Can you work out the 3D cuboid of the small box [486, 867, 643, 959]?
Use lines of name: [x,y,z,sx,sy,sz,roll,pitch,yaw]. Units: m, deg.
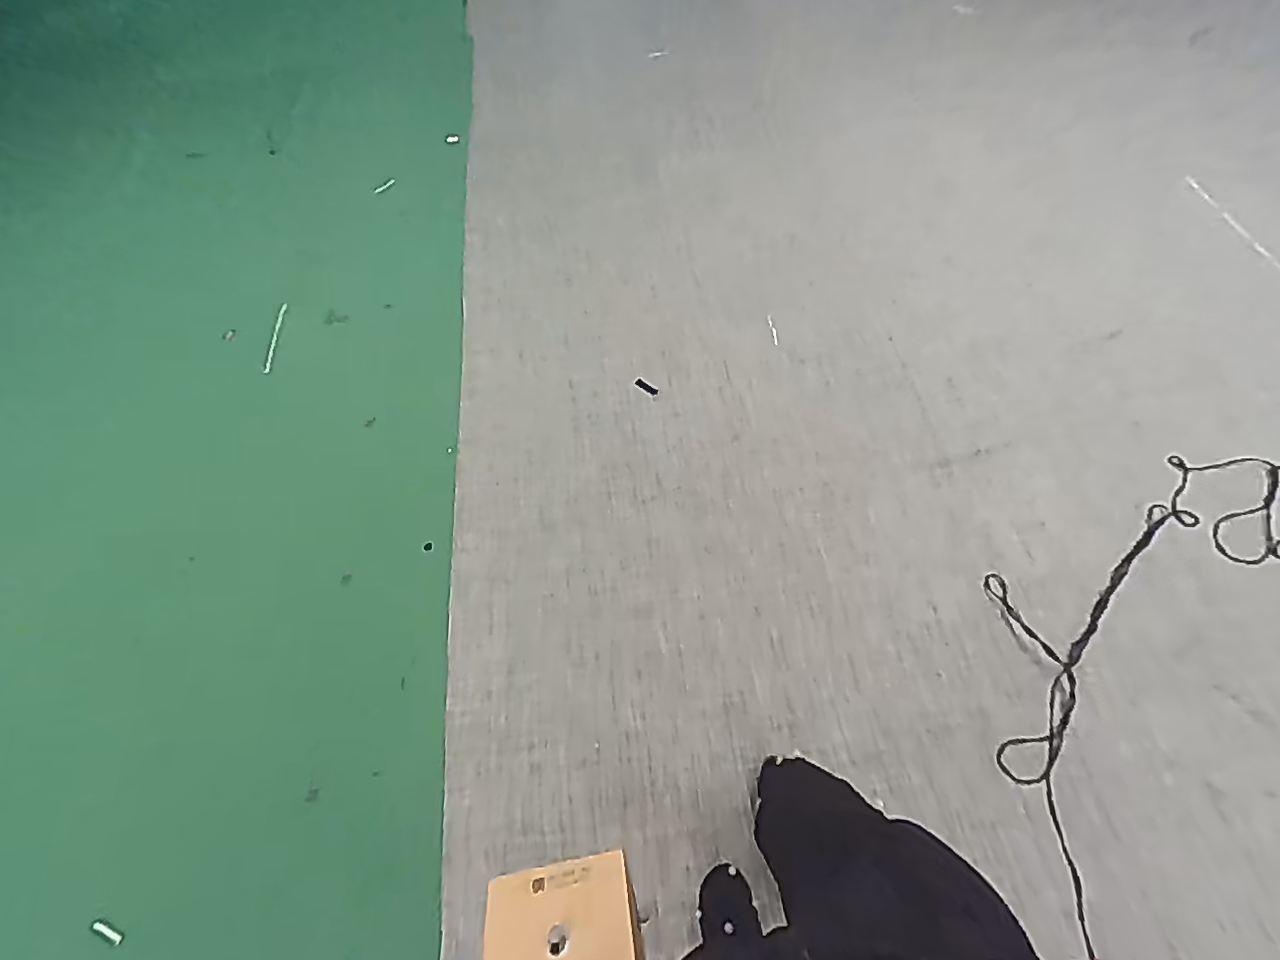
small box: [-0.079,0.581,0.621,0.168,0.179,0.176,-11,29,-6]
